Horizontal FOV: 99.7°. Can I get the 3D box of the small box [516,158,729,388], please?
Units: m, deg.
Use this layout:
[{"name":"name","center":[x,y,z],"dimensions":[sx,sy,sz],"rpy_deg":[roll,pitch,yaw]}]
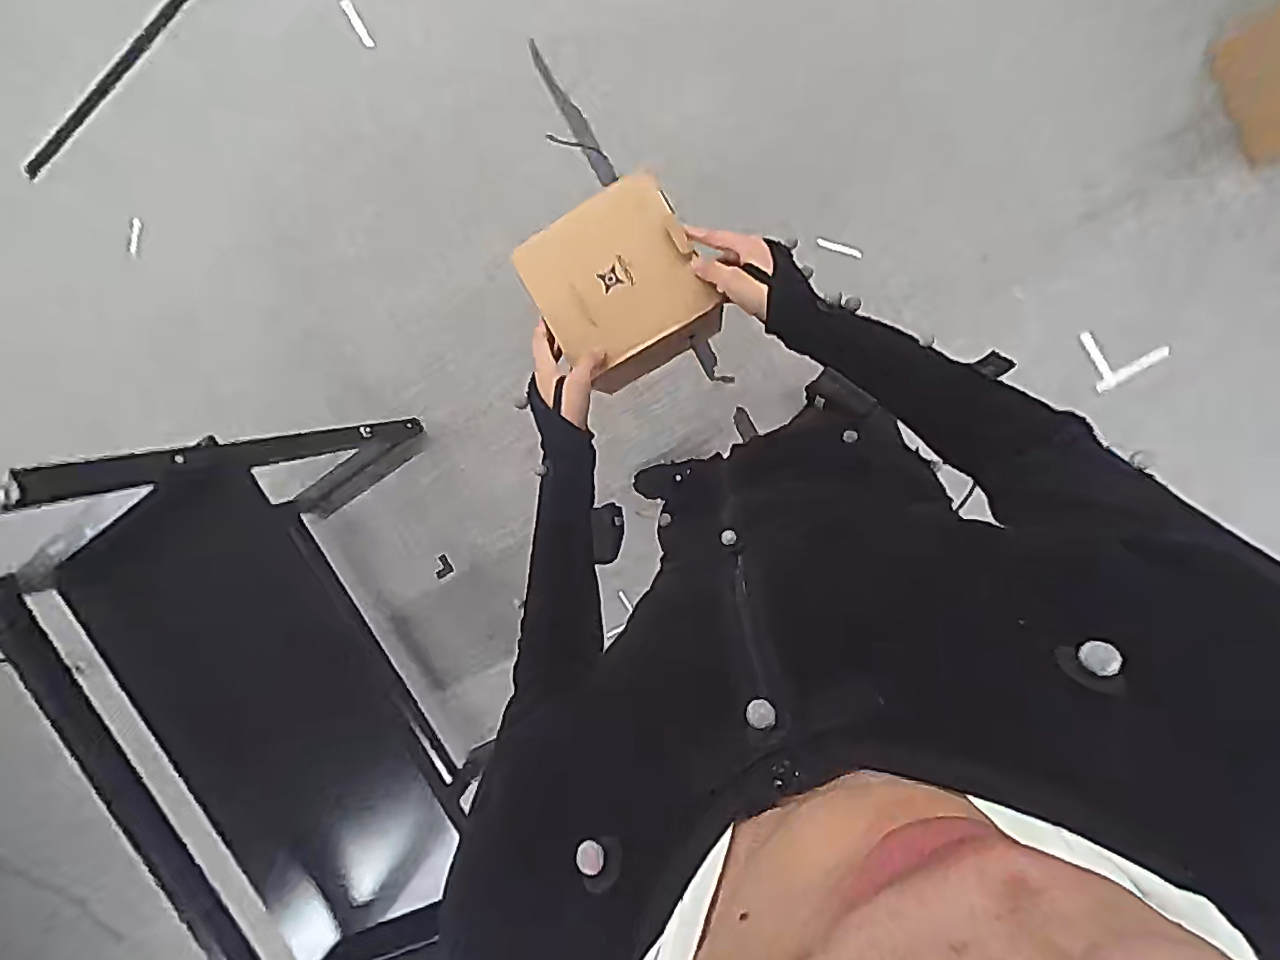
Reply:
[{"name":"small box","center":[-0.012,-0.224,0.639],"dimensions":[0.179,0.176,0.168],"rpy_deg":[-28,90,9]}]
